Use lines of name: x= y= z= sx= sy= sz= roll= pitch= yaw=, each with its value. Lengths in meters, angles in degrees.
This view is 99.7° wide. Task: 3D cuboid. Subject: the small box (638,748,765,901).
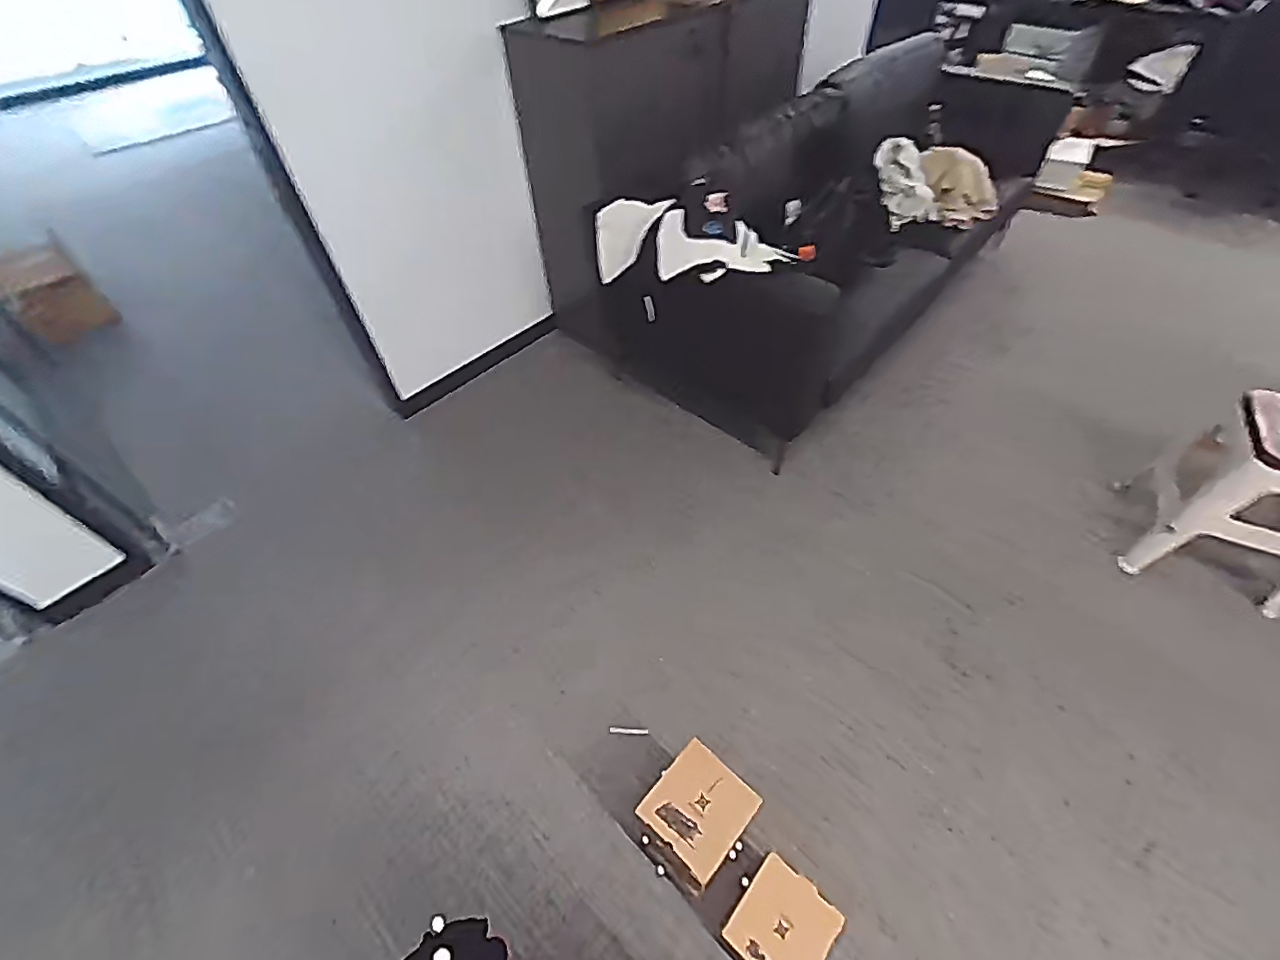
small box: x=0.117 y=0.662 z=1.035 sx=0.168 sy=0.176 sz=0.179 roll=34 pitch=58 yaw=28
